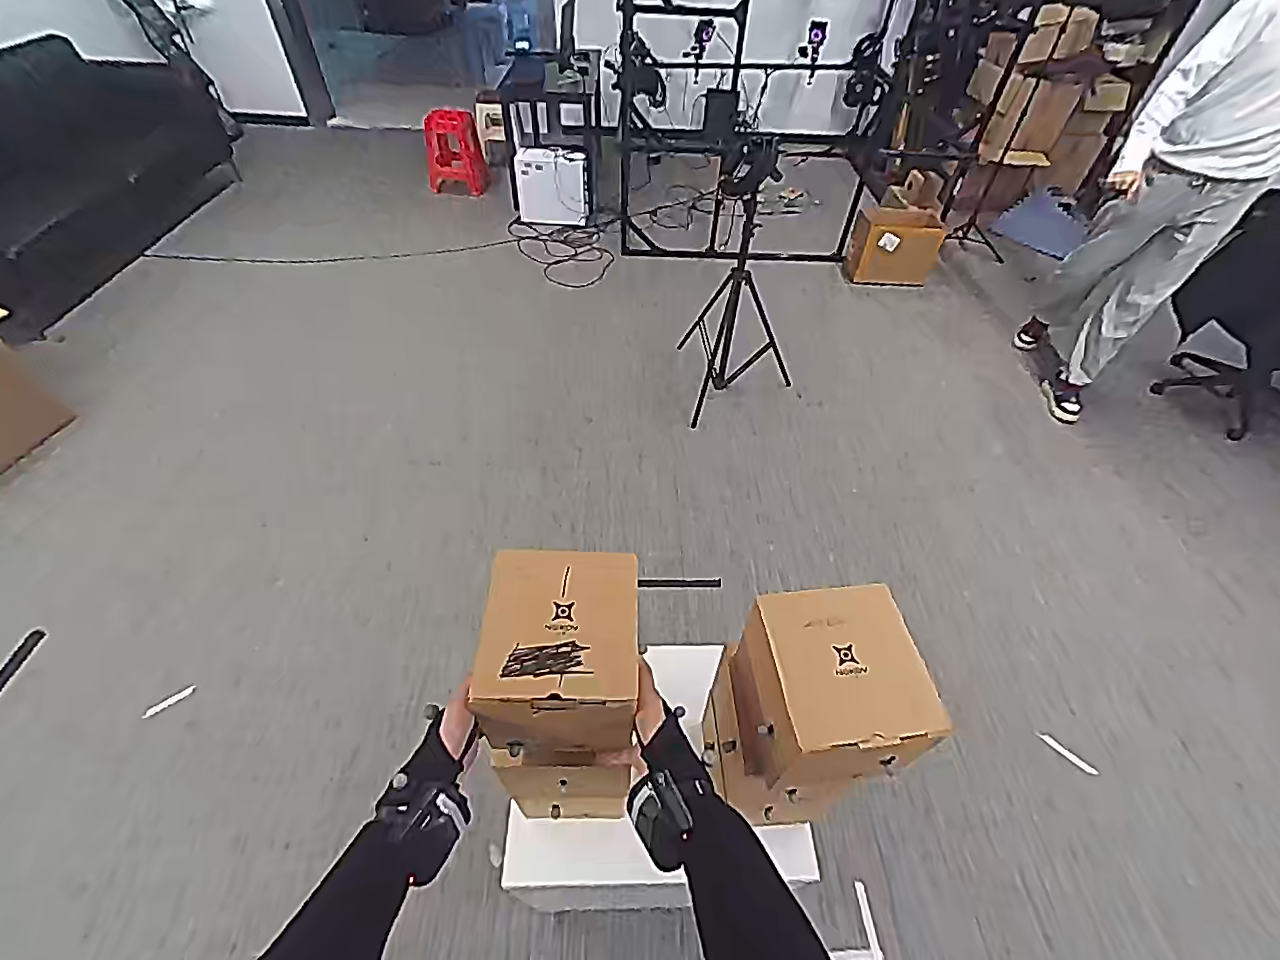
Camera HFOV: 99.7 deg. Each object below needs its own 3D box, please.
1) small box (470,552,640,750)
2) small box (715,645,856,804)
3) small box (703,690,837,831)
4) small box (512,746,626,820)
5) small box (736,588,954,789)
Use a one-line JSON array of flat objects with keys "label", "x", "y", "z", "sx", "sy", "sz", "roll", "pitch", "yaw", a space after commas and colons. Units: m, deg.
[{"label": "small box", "x": -0.086, "y": 0.204, "z": 0.633, "sx": 0.168, "sy": 0.176, "sz": 0.179, "roll": 3, "pitch": 48, "yaw": -3}, {"label": "small box", "x": 0.206, "y": 0.353, "z": 0.777, "sx": 0.168, "sy": 0.176, "sz": 0.179, "roll": -1, "pitch": 48, "yaw": -2}, {"label": "small box", "x": 0.202, "y": 0.463, "z": 0.899, "sx": 0.168, "sy": 0.176, "sz": 0.179, "roll": -2, "pitch": 48, "yaw": -2}, {"label": "small box", "x": -0.106, "y": 0.453, "z": 0.899, "sx": 0.168, "sy": 0.176, "sz": 0.179, "roll": 1, "pitch": 48, "yaw": -2}, {"label": "small box", "x": 0.224, "y": 0.253, "z": 0.647, "sx": 0.168, "sy": 0.176, "sz": 0.179, "roll": -4, "pitch": 48, "yaw": -7}]
